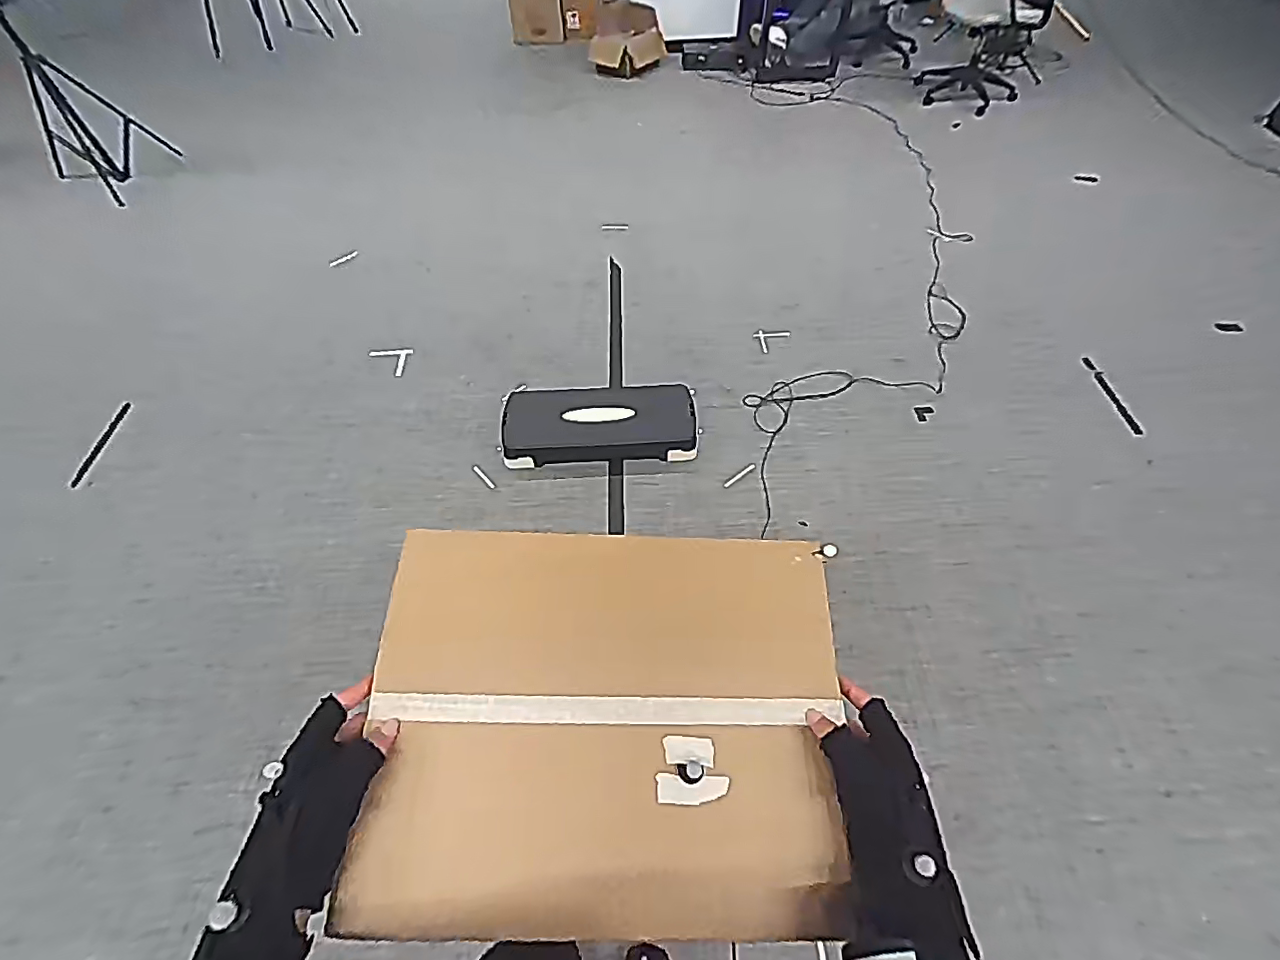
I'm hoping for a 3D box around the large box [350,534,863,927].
[{"bbox_3d":[-0.031,0.261,0.610,0.408,0.320,0.320,2,65,-3],"label":"large box"}]
